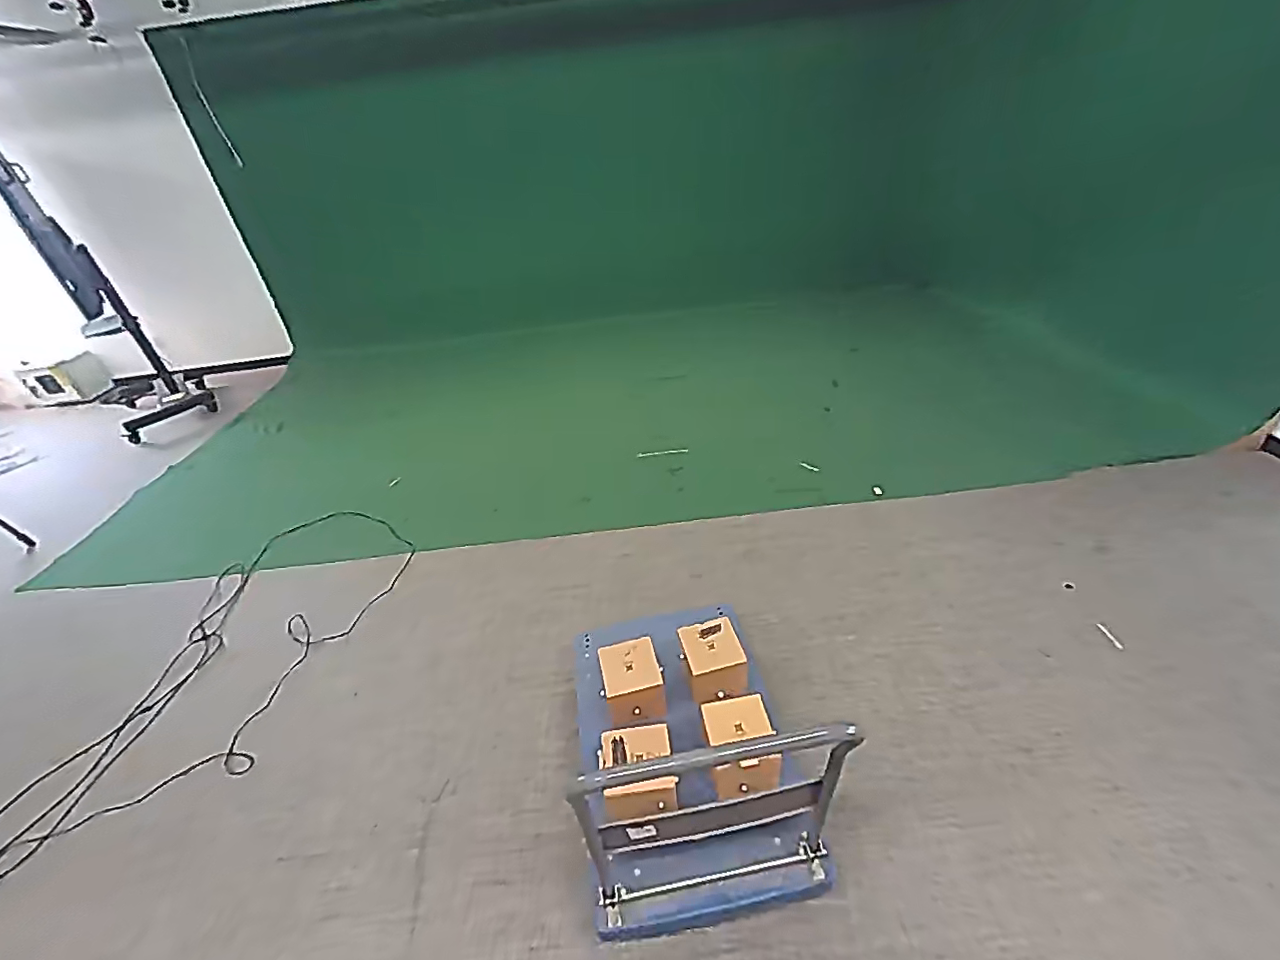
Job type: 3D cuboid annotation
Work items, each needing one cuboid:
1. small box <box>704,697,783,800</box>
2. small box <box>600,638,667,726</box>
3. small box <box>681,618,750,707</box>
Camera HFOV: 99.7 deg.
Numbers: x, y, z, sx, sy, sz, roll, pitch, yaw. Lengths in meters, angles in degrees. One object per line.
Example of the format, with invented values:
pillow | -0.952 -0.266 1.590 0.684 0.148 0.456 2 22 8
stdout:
small box | 0.267 0.711 1.433 0.168 0.176 0.179 -9 35 -3
small box | -0.018 0.612 1.623 0.168 0.176 0.179 -11 35 -7
small box | 0.226 0.559 1.653 0.168 0.176 0.179 -13 36 -6
